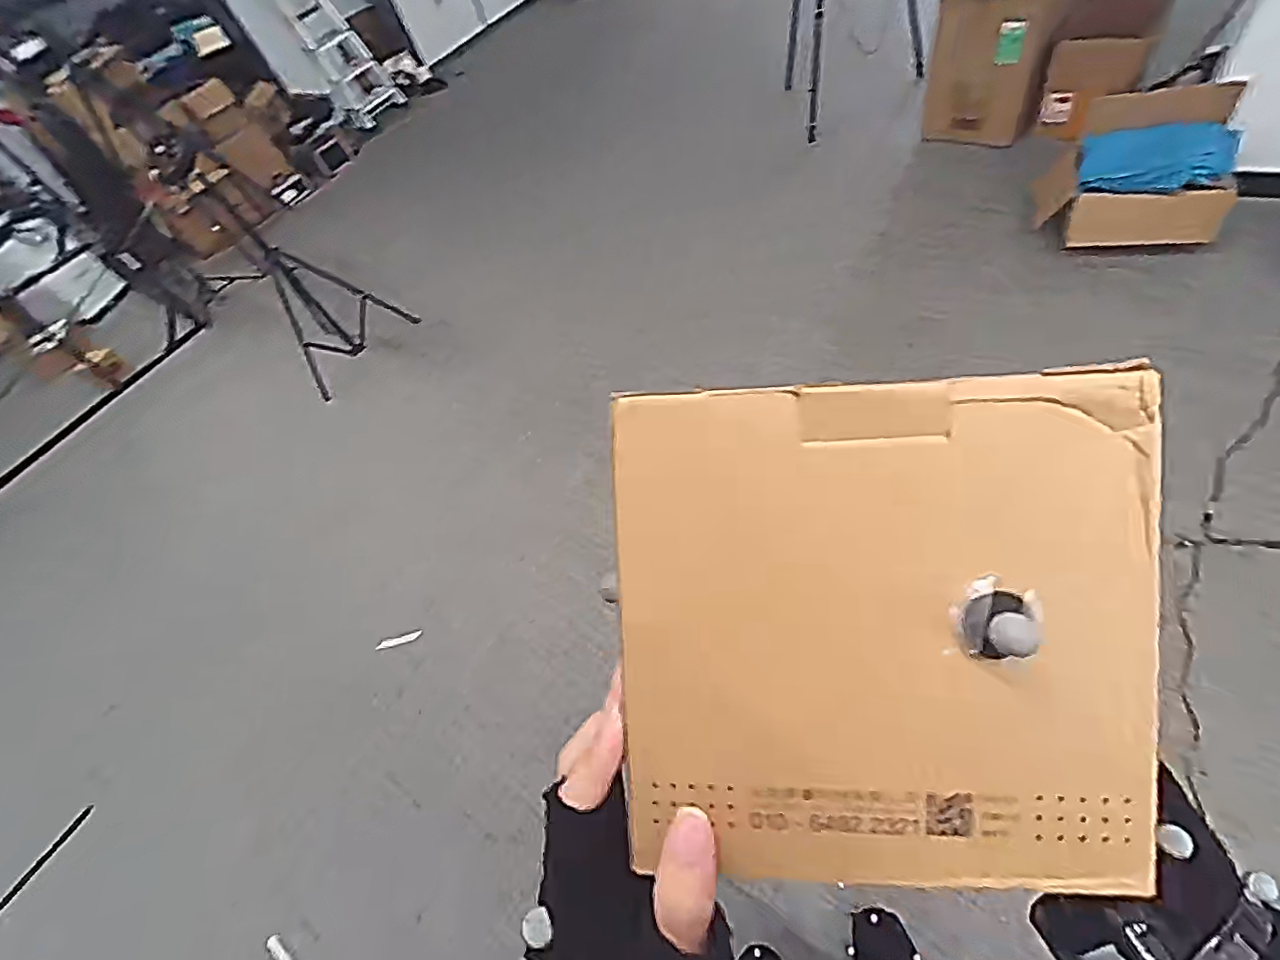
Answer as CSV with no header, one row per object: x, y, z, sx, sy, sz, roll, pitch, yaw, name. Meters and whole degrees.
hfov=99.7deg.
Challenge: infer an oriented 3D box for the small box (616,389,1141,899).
0.087,0.055,0.258,0.168,0.179,0.176,-3,93,6,small box
